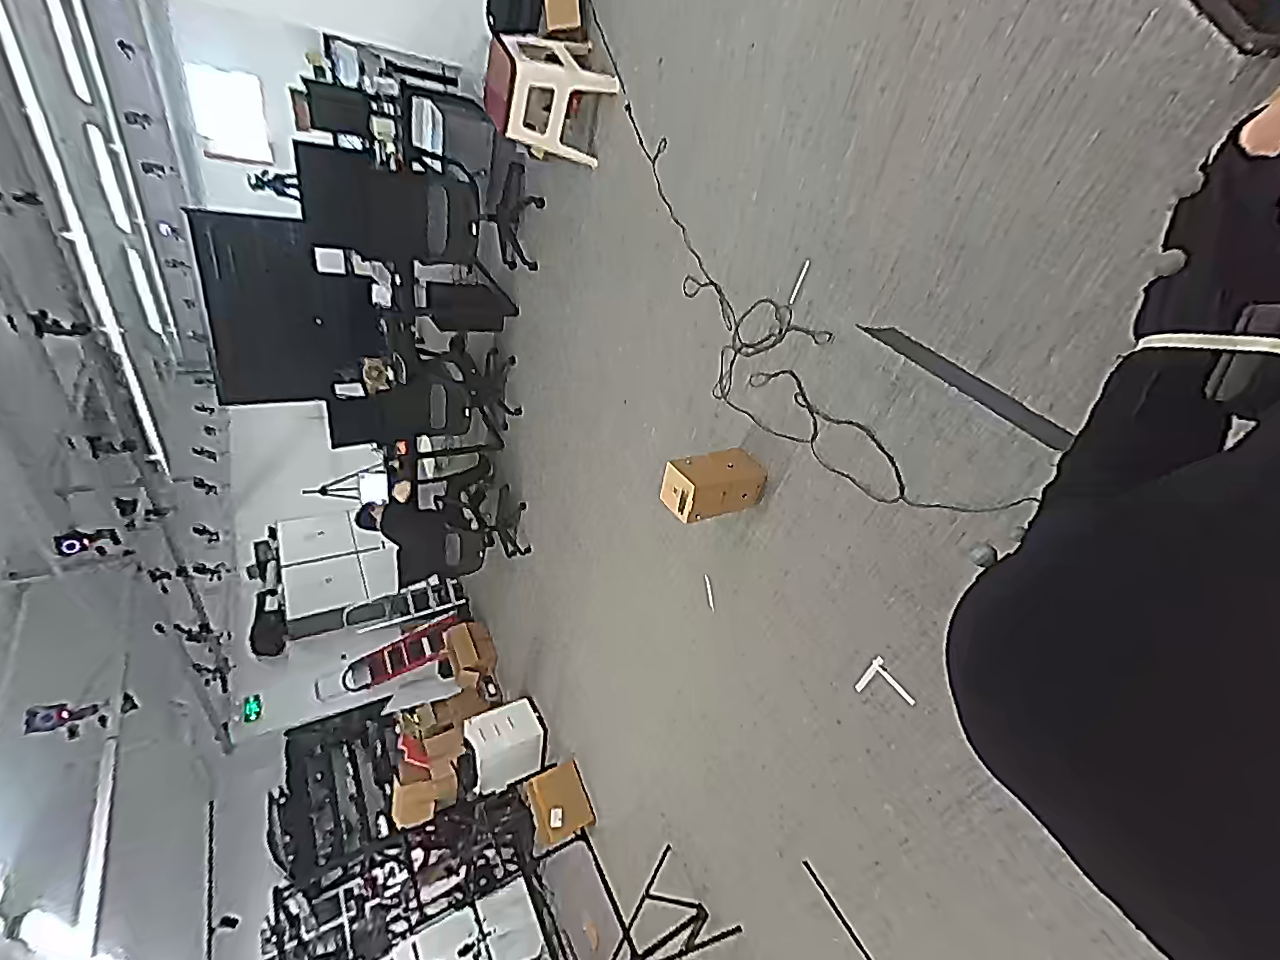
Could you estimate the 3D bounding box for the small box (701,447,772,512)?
[{"bbox_3d":[0.363,-0.010,2.027,0.179,0.176,0.168,51,139,39],"label":"small box"}]
